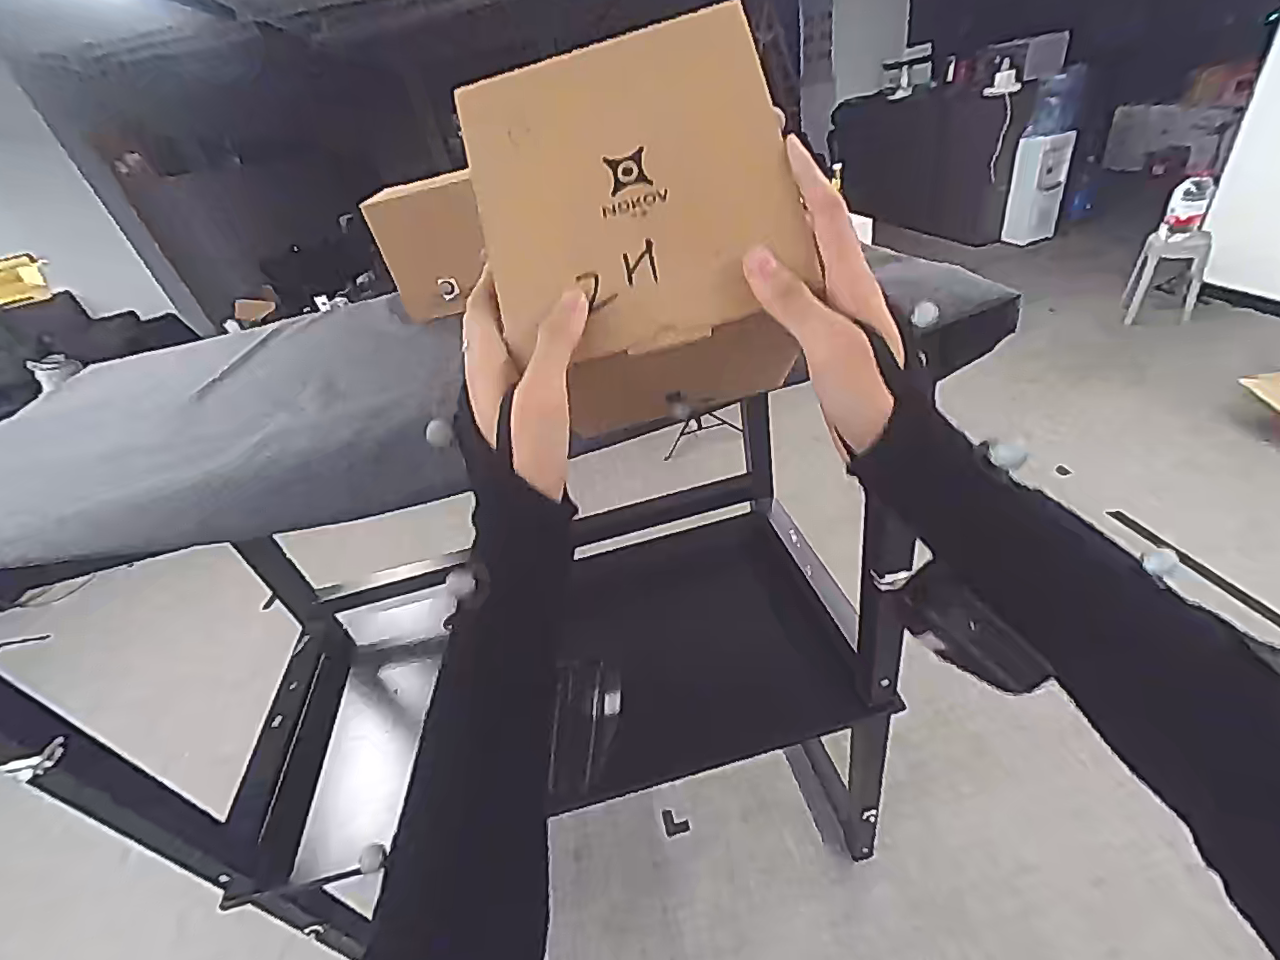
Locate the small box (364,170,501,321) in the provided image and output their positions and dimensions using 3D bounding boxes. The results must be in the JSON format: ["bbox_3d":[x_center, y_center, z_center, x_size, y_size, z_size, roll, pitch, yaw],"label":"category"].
[{"bbox_3d":[-0.284,-0.361,0.827,0.168,0.176,0.179,-16,35,-2],"label":"small box"}]

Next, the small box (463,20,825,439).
[{"bbox_3d":[0.004,-0.140,0.367,0.168,0.179,0.176,-14,-6,5],"label":"small box"}]
